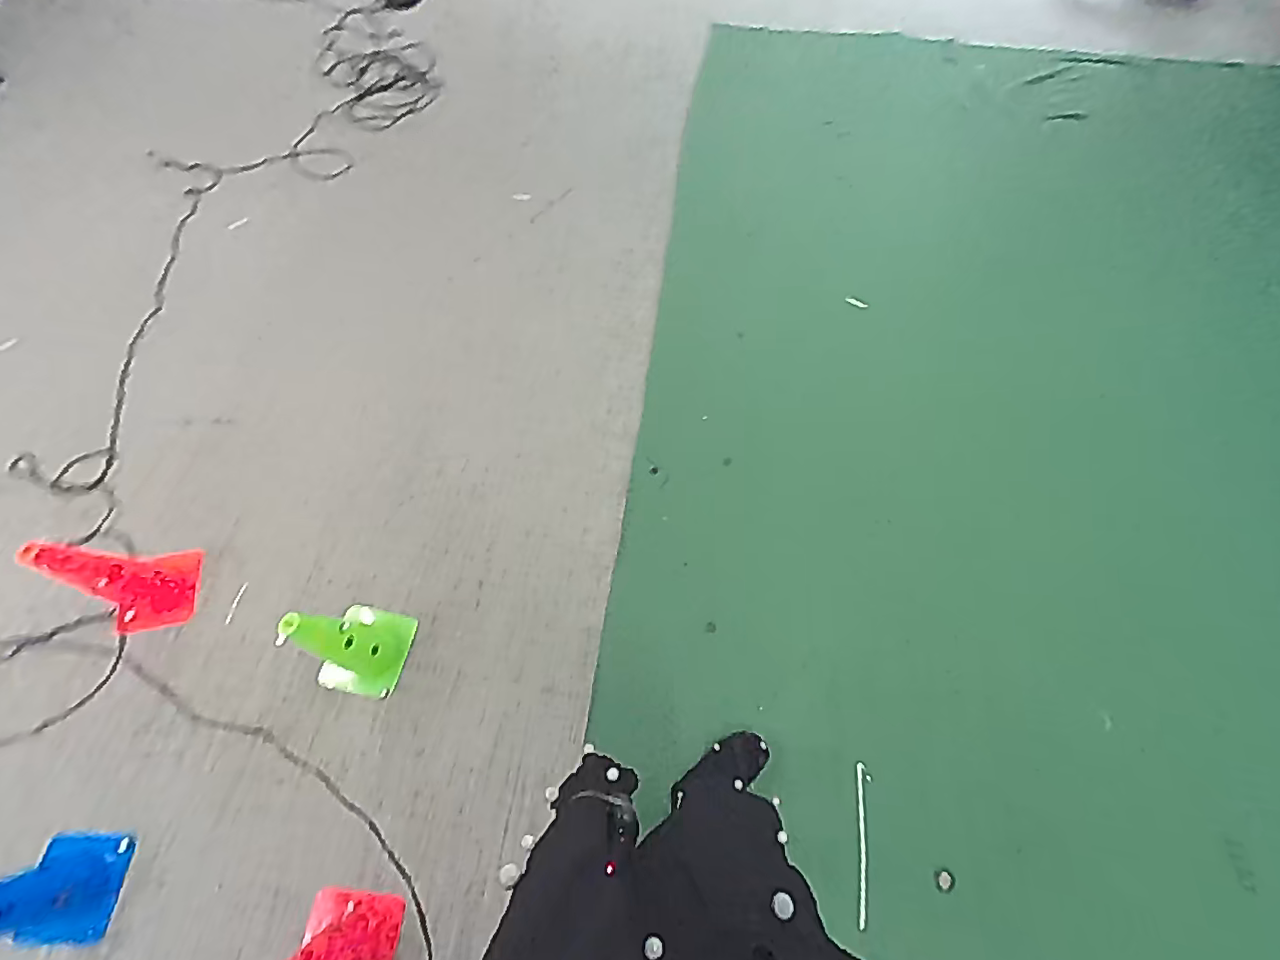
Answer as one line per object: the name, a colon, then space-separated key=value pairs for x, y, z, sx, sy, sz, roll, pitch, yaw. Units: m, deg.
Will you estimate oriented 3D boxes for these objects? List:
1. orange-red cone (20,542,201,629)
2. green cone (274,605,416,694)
orange-red cone: x=-1.302 y=0.223 z=1.311 sx=0.199 sy=0.360 sz=0.198 roll=-8 pitch=65 yaw=-5
green cone: x=-0.700 y=0.356 z=1.237 sx=0.202 sy=0.368 sz=0.200 roll=9 pitch=64 yaw=6
